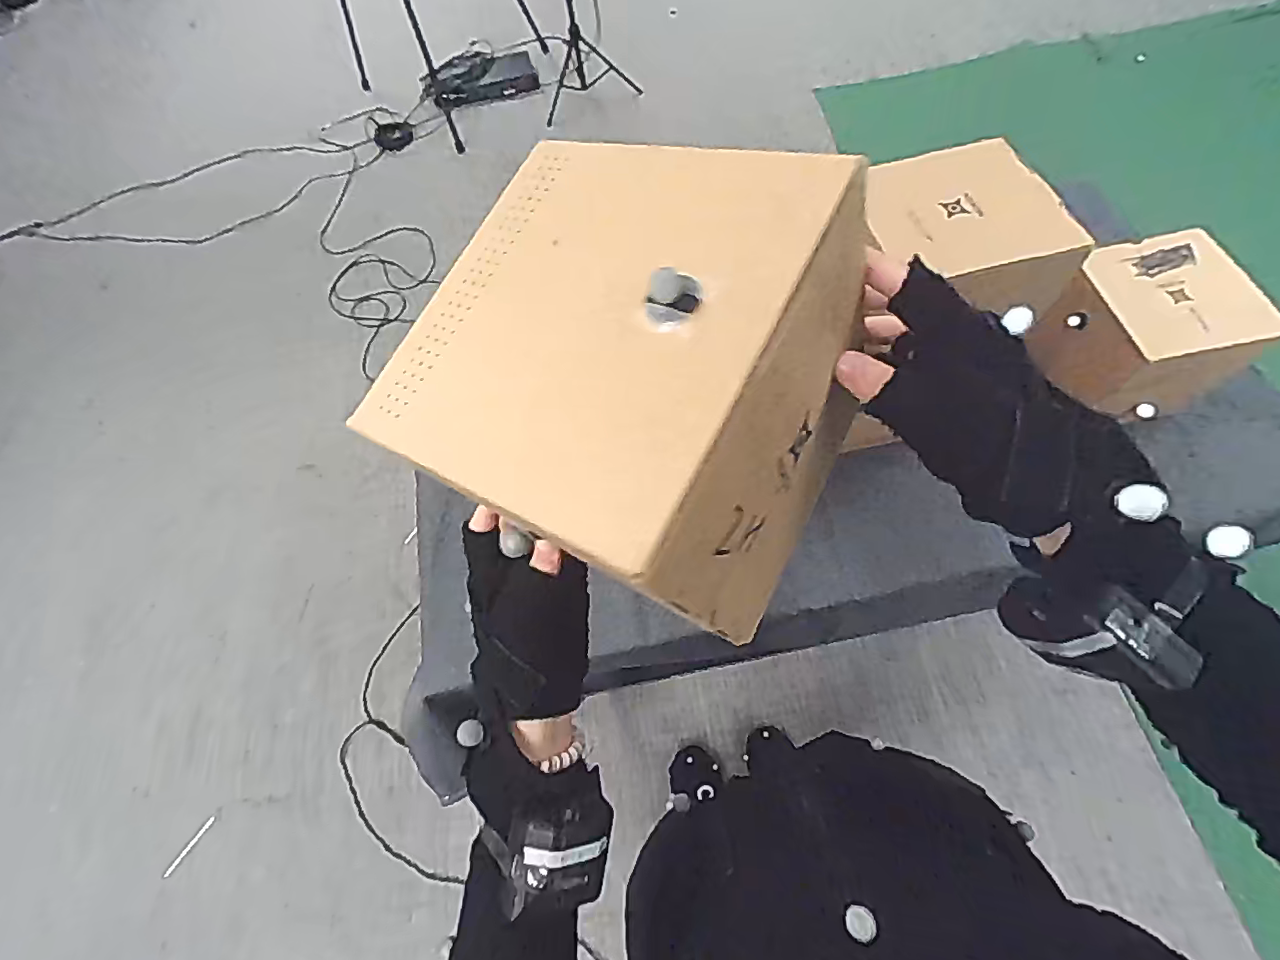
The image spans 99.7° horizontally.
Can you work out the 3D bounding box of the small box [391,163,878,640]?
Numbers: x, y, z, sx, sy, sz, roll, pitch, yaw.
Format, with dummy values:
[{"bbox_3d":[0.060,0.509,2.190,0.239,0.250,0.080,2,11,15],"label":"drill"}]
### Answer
[{"bbox_3d":[0.008,-0.041,0.294,0.176,0.168,0.179,23,77,28],"label":"small box"}]
